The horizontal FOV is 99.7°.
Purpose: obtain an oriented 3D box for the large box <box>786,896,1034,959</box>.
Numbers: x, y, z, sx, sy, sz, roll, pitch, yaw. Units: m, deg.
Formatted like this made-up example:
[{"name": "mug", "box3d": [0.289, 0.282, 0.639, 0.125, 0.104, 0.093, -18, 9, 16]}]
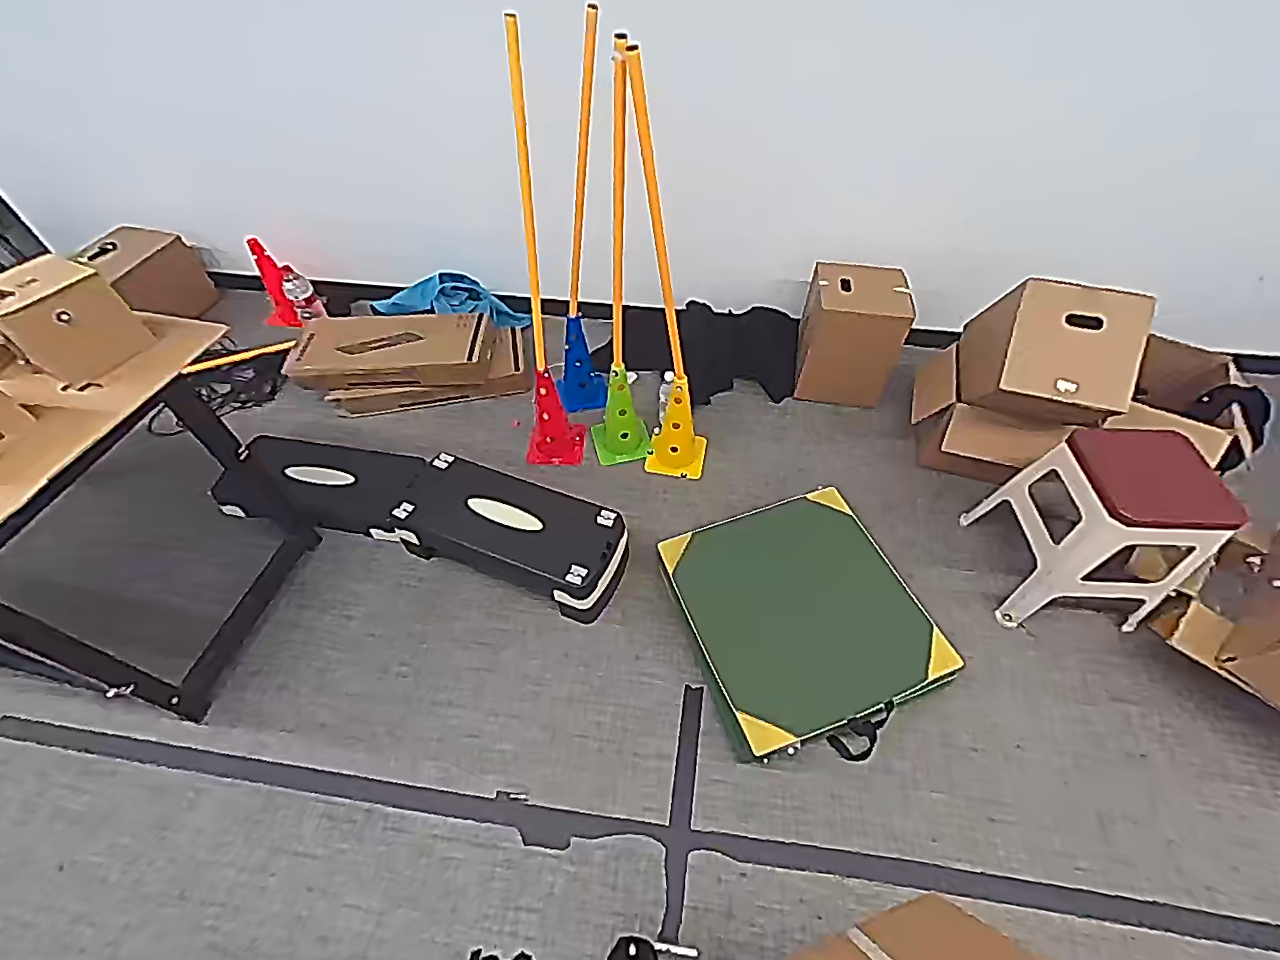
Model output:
[{"name": "large box", "box3d": [0.397, 0.776, 0.603, 0.320, 0.408, 0.320, -13, 77, -13]}]
